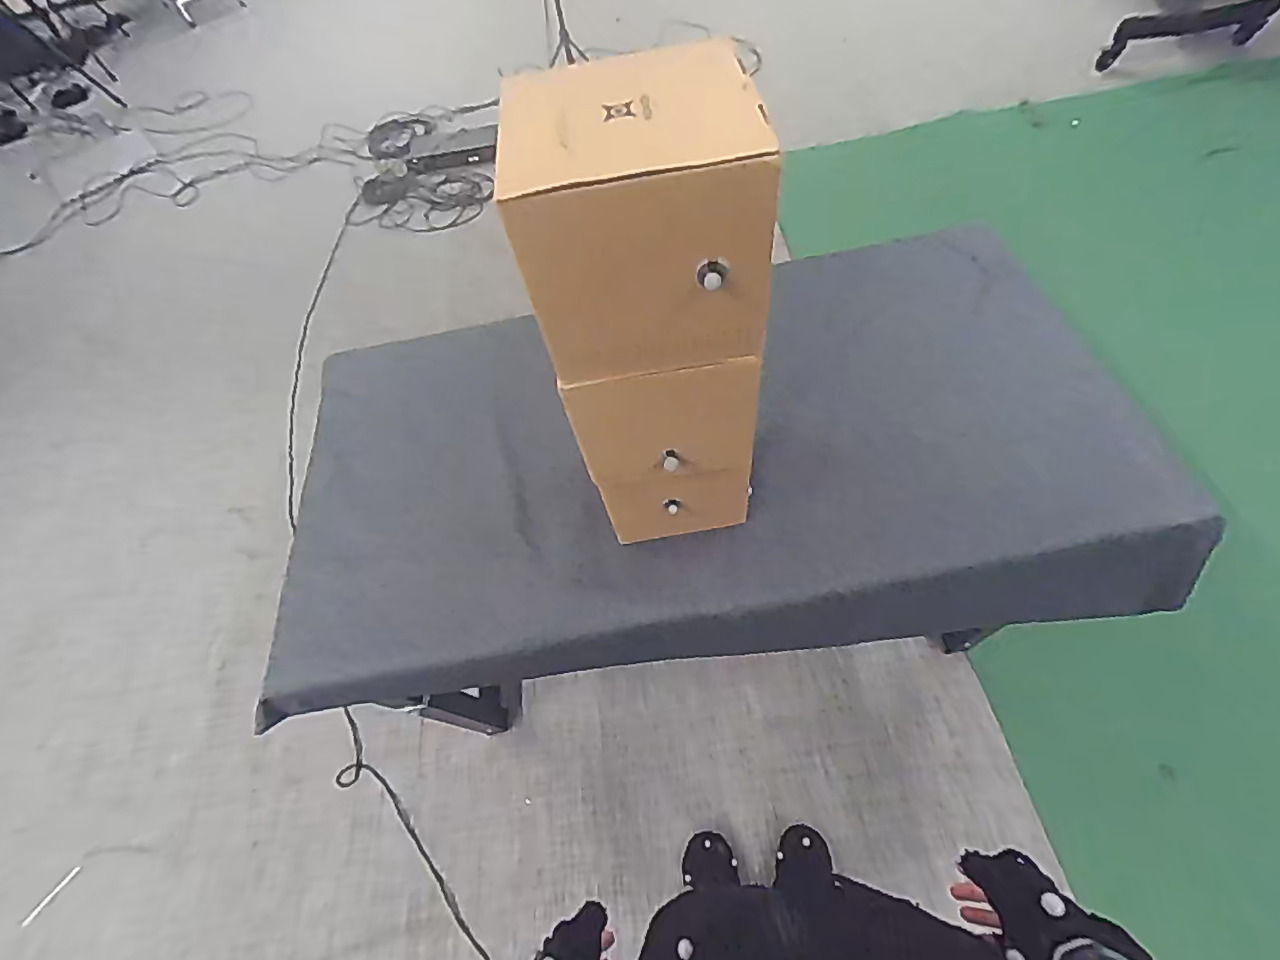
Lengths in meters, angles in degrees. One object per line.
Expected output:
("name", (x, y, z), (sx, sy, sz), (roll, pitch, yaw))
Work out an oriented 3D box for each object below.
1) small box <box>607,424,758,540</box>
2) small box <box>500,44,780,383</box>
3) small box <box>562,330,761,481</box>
("small box", (0.042, -0.040, 0.715), (0.179, 0.176, 0.168), (-13, 59, 0))
("small box", (0.001, -0.202, 0.436), (0.179, 0.176, 0.168), (-10, 58, 3))
("small box", (0.019, -0.117, 0.574), (0.179, 0.176, 0.168), (-9, 58, 3))
